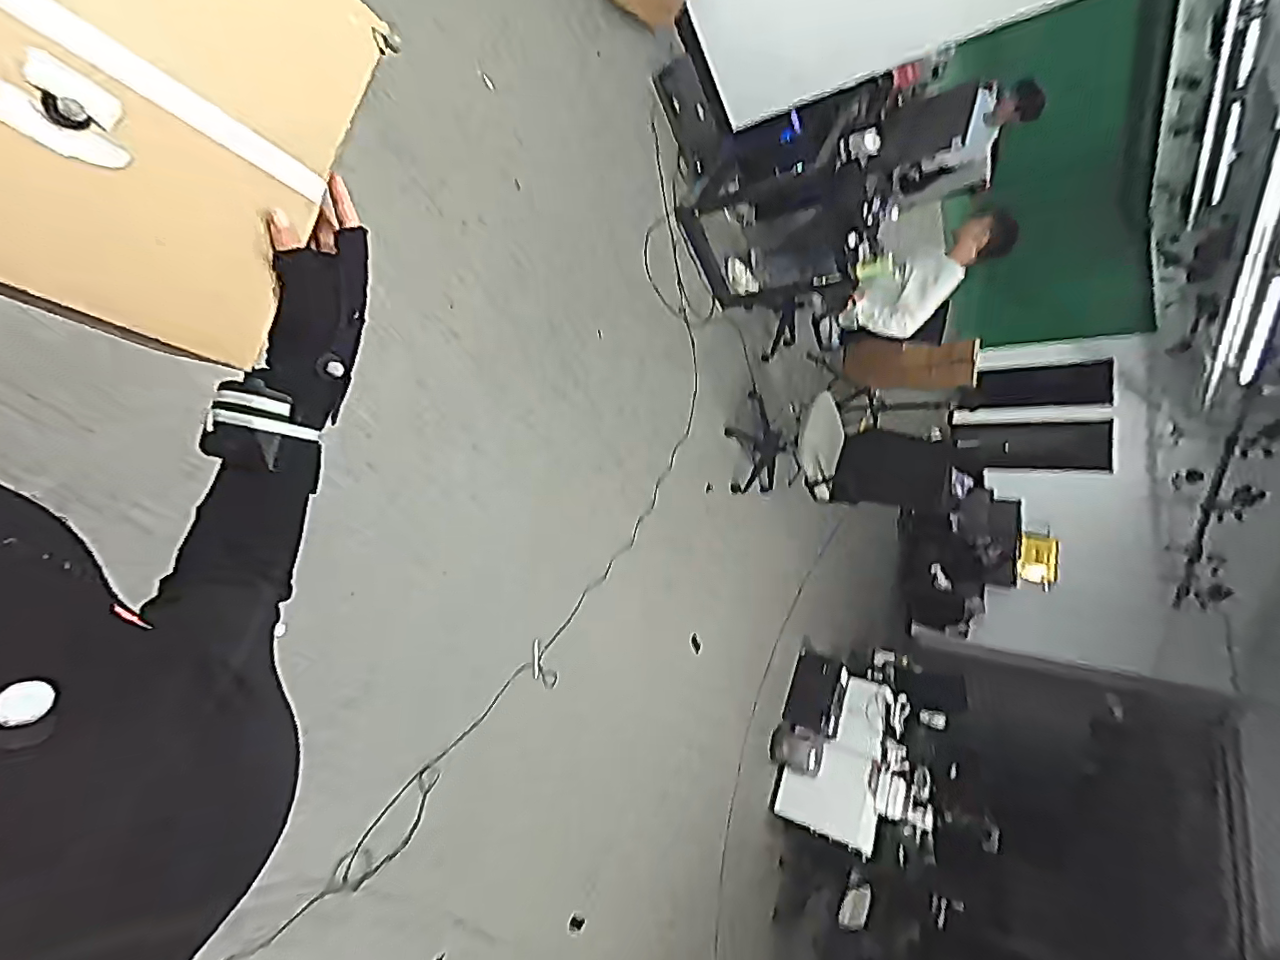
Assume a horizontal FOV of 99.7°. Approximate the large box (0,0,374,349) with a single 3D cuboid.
[{"bbox_3d":[-0.496,-0.323,0.385,0.408,0.320,0.320,23,84,-51],"label":"large box"}]
